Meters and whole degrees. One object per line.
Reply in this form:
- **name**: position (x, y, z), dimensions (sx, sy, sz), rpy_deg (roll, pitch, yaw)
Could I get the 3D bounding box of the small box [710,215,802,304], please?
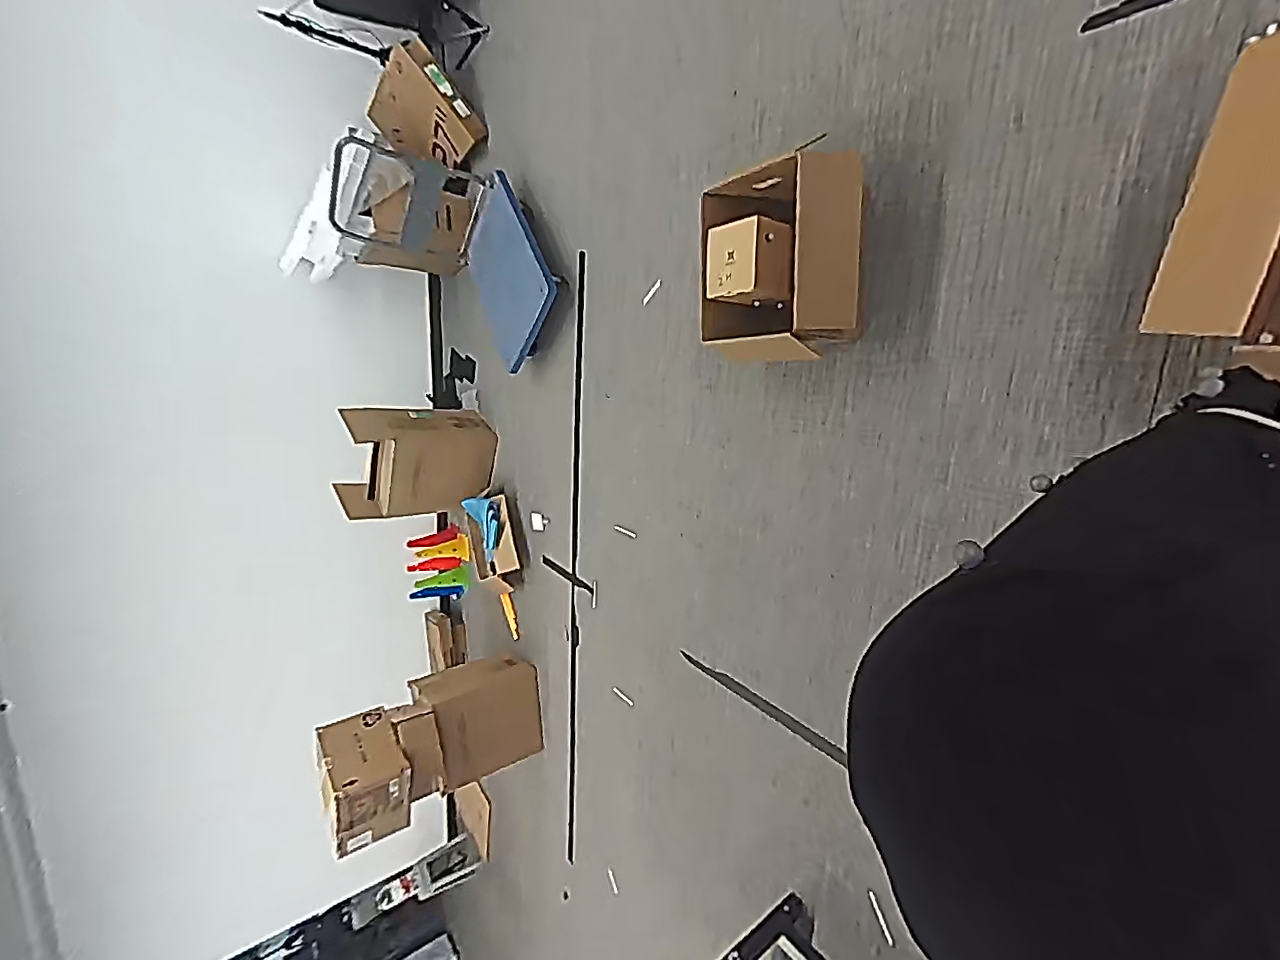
- **small box**: position (0.301, -0.562, 1.401), dimensions (0.168, 0.176, 0.179), rpy_deg (13, 106, 51)
